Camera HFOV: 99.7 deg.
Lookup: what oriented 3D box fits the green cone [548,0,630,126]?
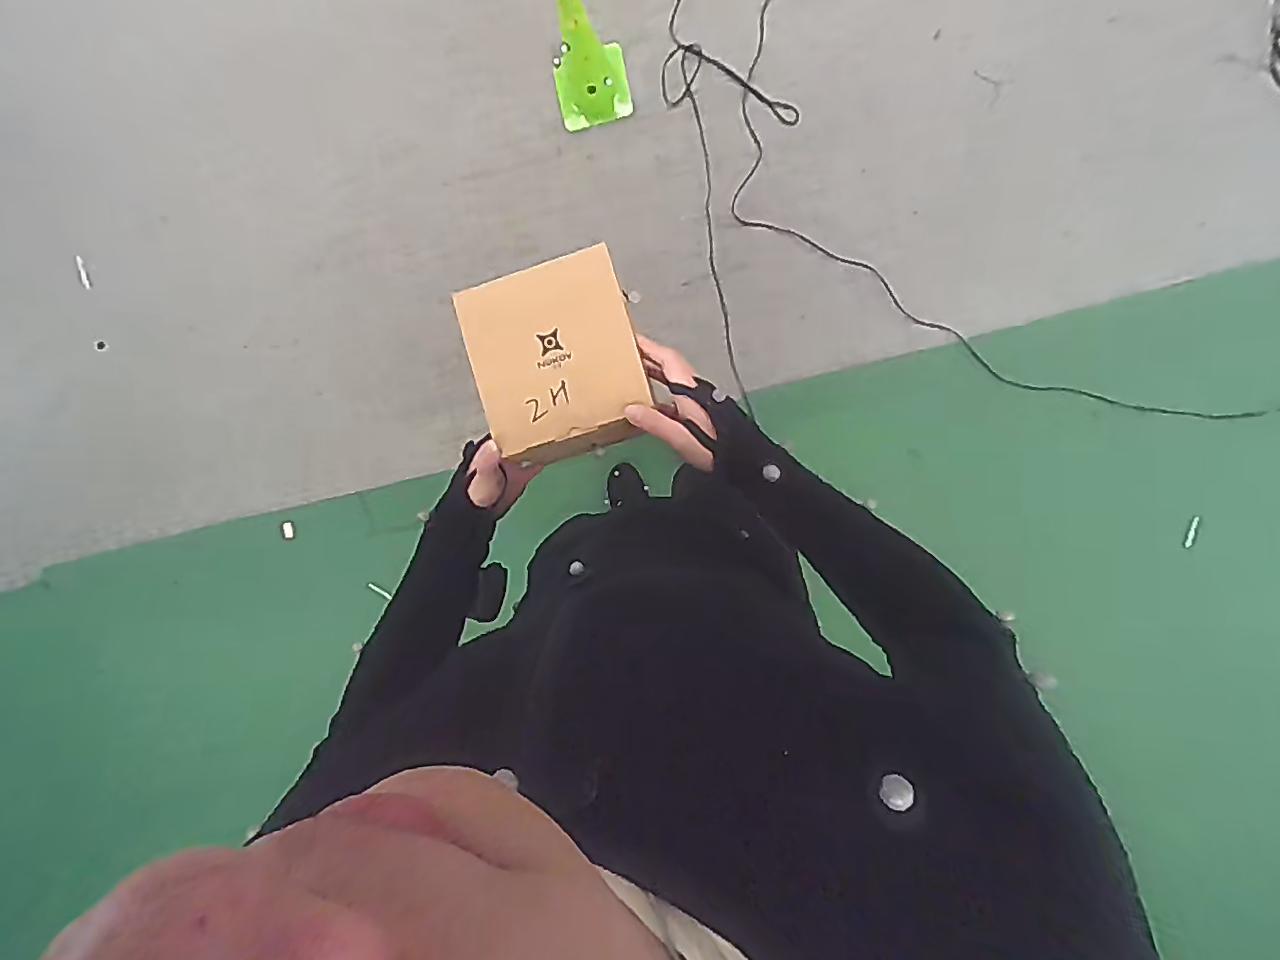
[{"bbox_3d":[-0.152,-1.086,1.330,0.202,0.368,0.200,-13,95,5],"label":"green cone"}]
